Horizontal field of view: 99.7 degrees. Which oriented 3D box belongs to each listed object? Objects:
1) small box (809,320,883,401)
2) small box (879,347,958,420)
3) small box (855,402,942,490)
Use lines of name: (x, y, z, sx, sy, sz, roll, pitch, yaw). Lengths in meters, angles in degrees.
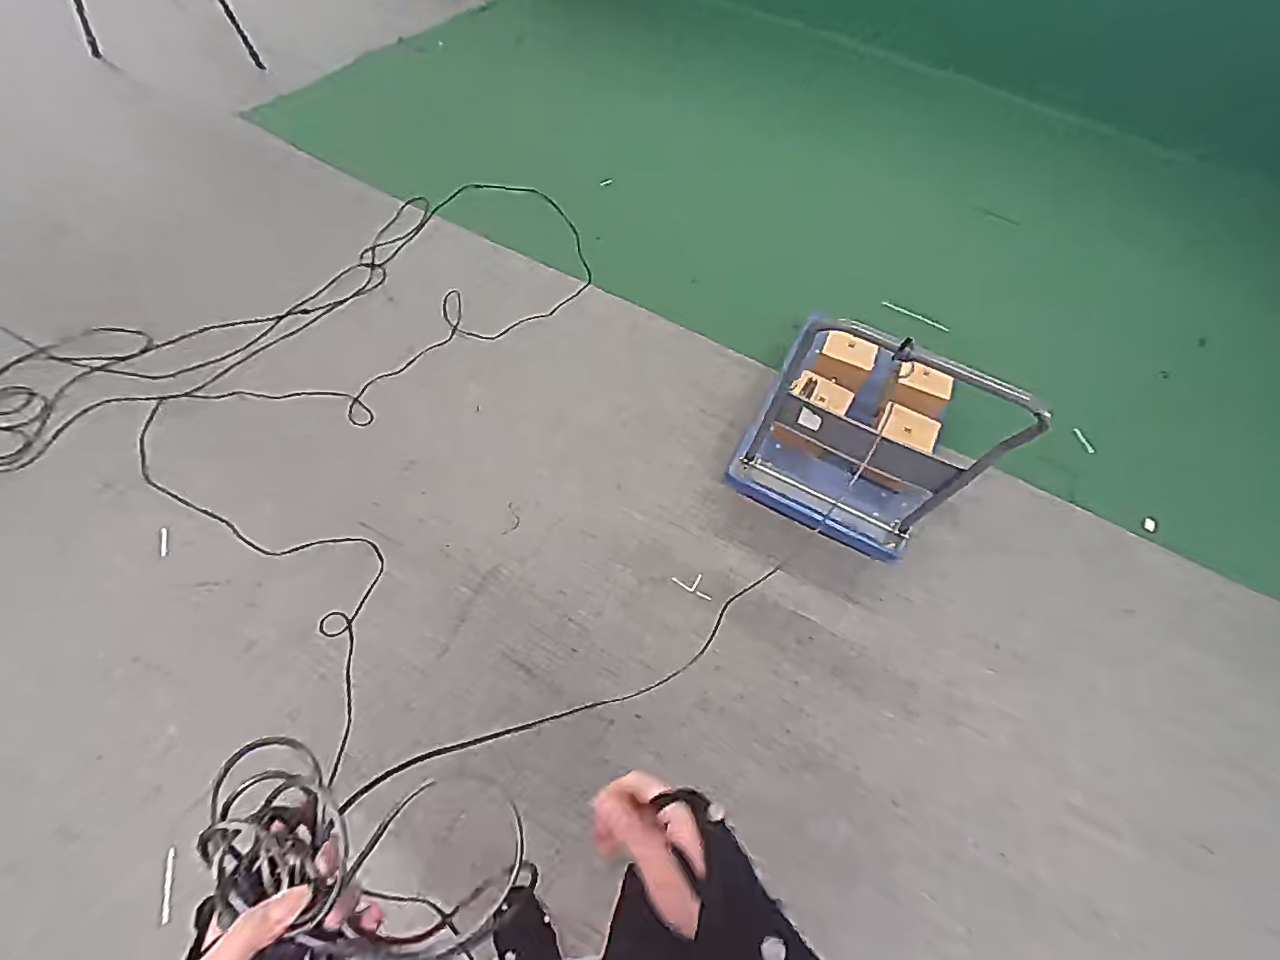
small box: (0.692, -0.401, 1.836, 0.168, 0.176, 0.179, 24, 60, 8)
small box: (0.921, -0.301, 1.799, 0.168, 0.176, 0.179, 24, 62, 9)
small box: (0.792, -0.101, 1.672, 0.168, 0.176, 0.179, 28, 62, 11)
